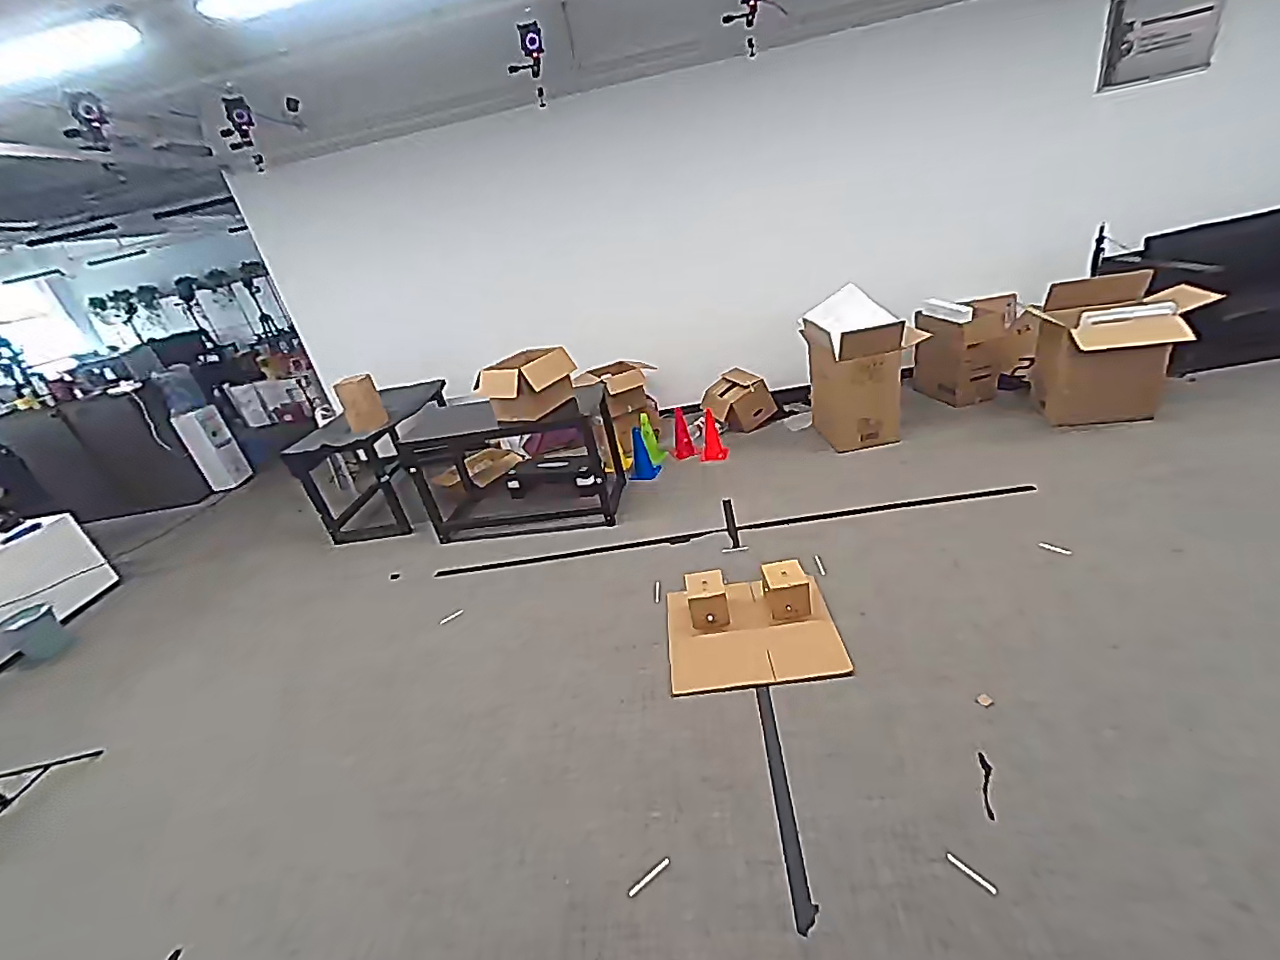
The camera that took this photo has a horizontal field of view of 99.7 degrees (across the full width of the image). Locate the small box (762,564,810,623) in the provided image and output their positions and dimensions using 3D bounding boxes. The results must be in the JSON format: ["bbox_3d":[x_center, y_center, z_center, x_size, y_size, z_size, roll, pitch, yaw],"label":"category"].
[{"bbox_3d":[0.640,0.500,2.377,0.168,0.176,0.179,-11,26,2],"label":"small box"}]

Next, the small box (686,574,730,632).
[{"bbox_3d":[0.301,0.548,2.410,0.168,0.176,0.179,-10,26,6],"label":"small box"}]
